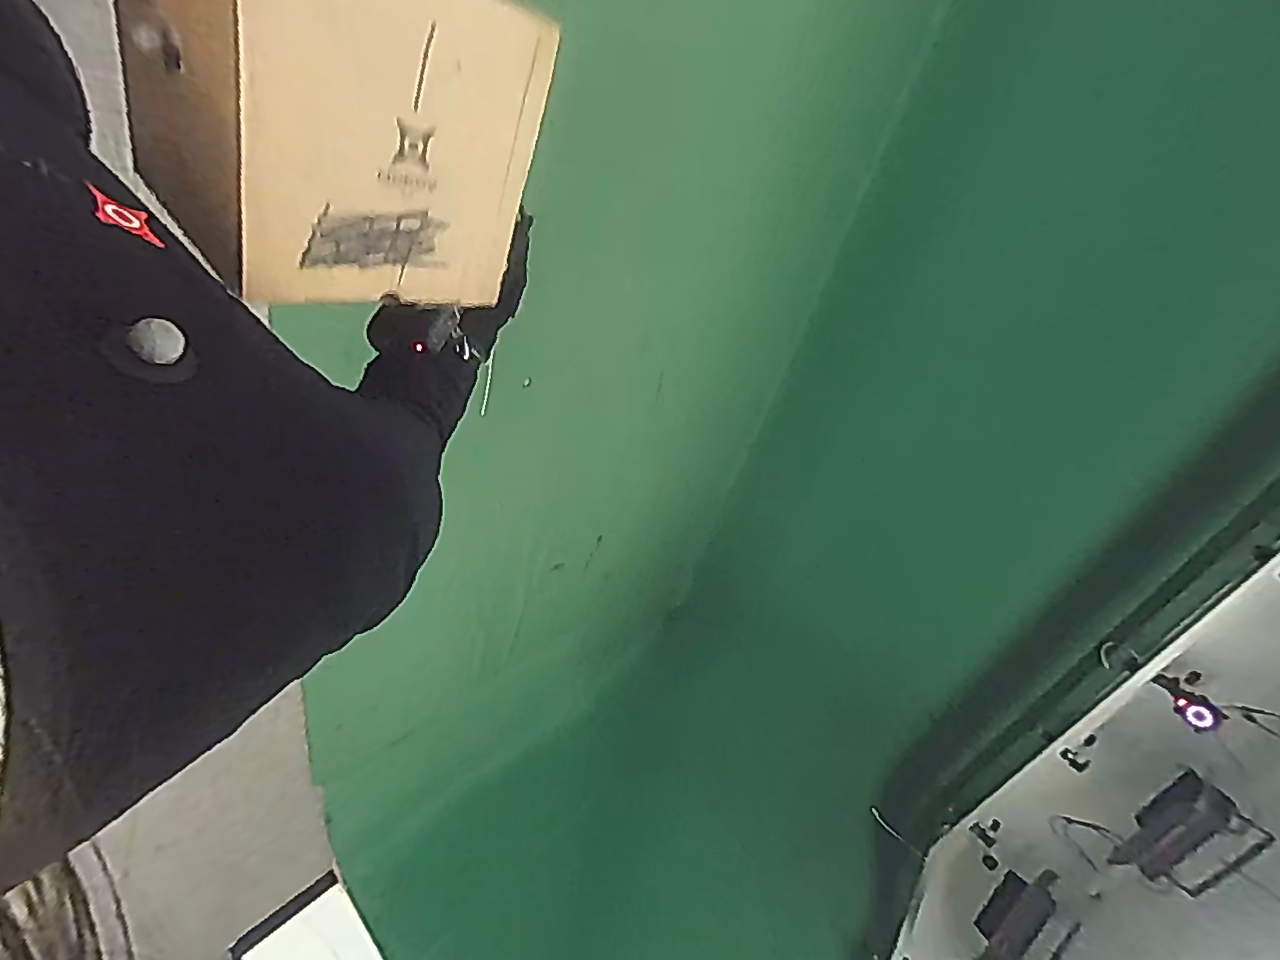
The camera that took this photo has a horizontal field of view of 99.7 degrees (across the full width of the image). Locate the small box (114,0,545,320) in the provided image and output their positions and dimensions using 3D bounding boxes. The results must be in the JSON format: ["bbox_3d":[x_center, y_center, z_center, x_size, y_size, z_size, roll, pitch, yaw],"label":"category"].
[{"bbox_3d":[-0.195,-0.223,0.342,0.168,0.176,0.179,-21,146,-50],"label":"small box"}]
